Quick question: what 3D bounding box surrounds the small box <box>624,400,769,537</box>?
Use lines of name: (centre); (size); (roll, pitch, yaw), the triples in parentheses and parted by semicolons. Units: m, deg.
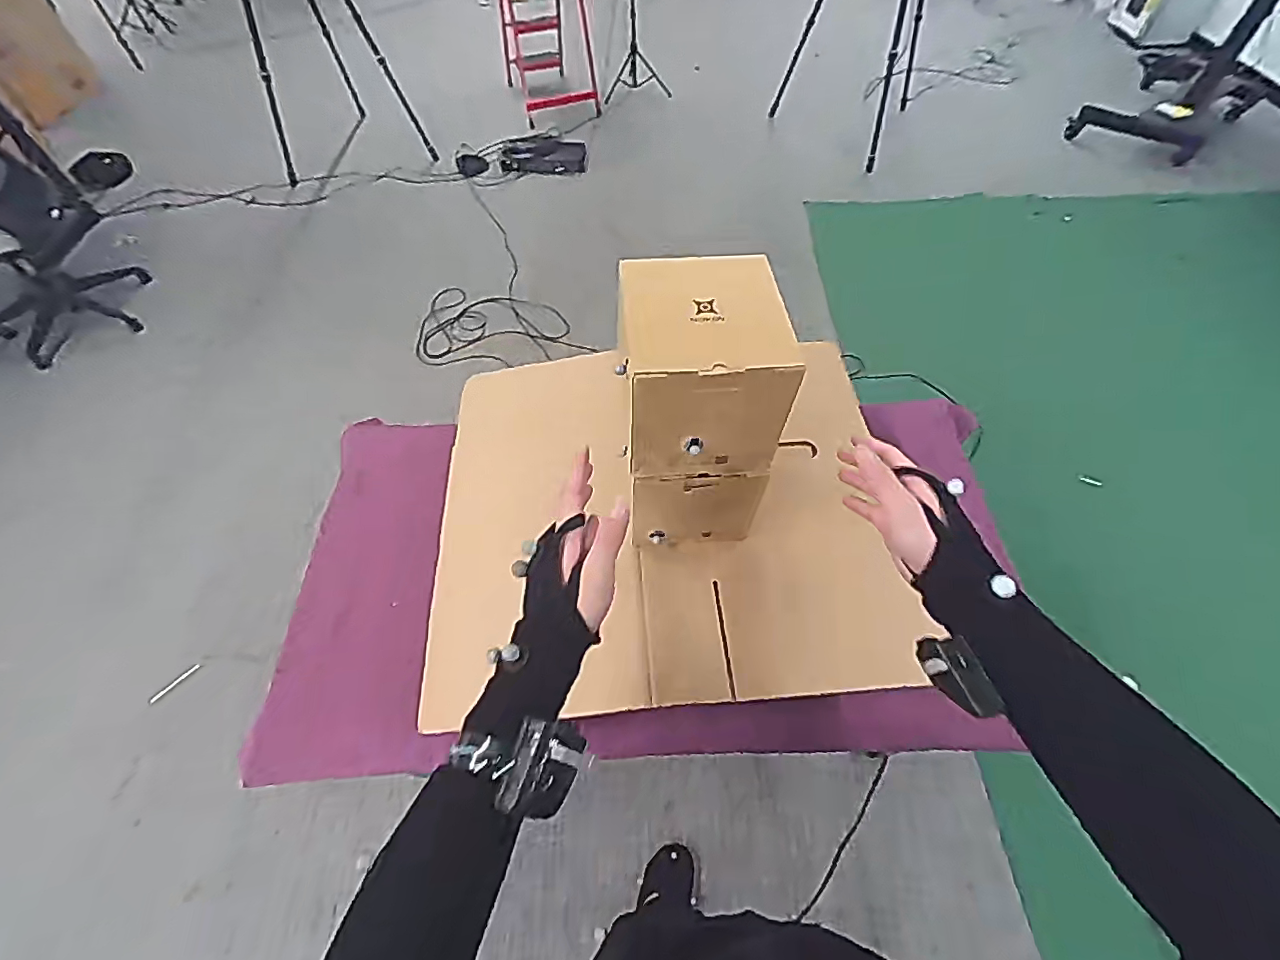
small box: (0.065, -0.031, 0.739); (0.168, 0.176, 0.179); (-3, 56, -4)

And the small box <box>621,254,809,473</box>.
small box: (0.066, -0.128, 0.608); (0.168, 0.176, 0.179); (-4, 57, -4)
